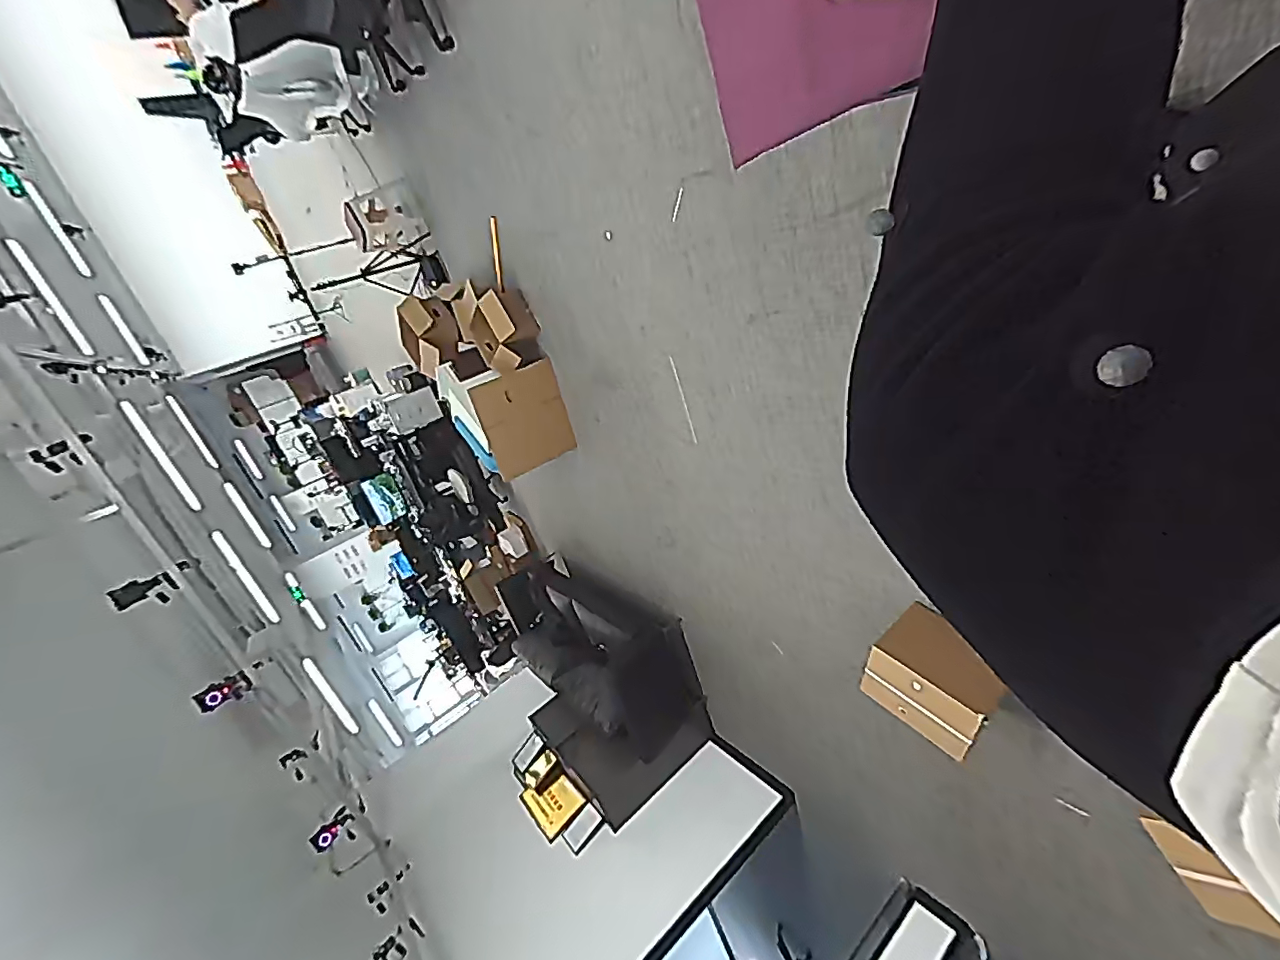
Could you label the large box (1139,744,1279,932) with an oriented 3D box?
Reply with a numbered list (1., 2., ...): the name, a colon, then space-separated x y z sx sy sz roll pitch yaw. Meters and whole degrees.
1. large box: 1.655 0.925 1.397 0.320 0.320 0.408 55 151 6
